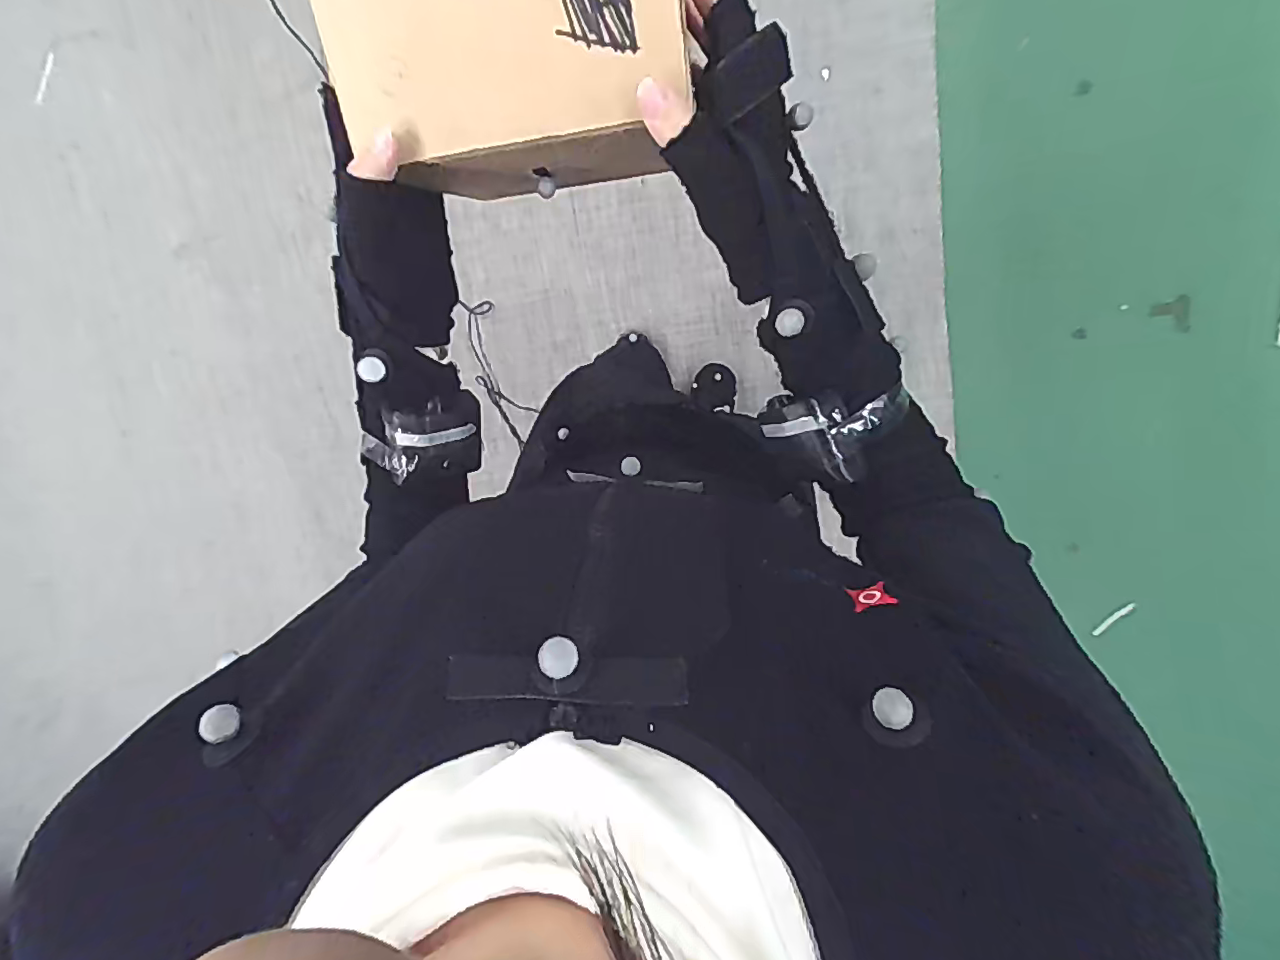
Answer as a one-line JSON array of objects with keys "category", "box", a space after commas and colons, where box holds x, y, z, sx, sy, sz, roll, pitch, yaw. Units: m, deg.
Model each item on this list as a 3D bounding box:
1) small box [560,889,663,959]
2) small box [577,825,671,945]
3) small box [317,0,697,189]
[{"category": "small box", "box": [-0.053, 0.984, 1.117, 0.168, 0.176, 0.179, -11, 99, 11]}, {"category": "small box", "box": [-0.028, 0.946, 1.274, 0.179, 0.176, 0.168, -10, 100, 12]}, {"category": "small box", "box": [-0.059, -0.275, 0.309, 0.179, 0.176, 0.168, -4, 112, 10]}]
